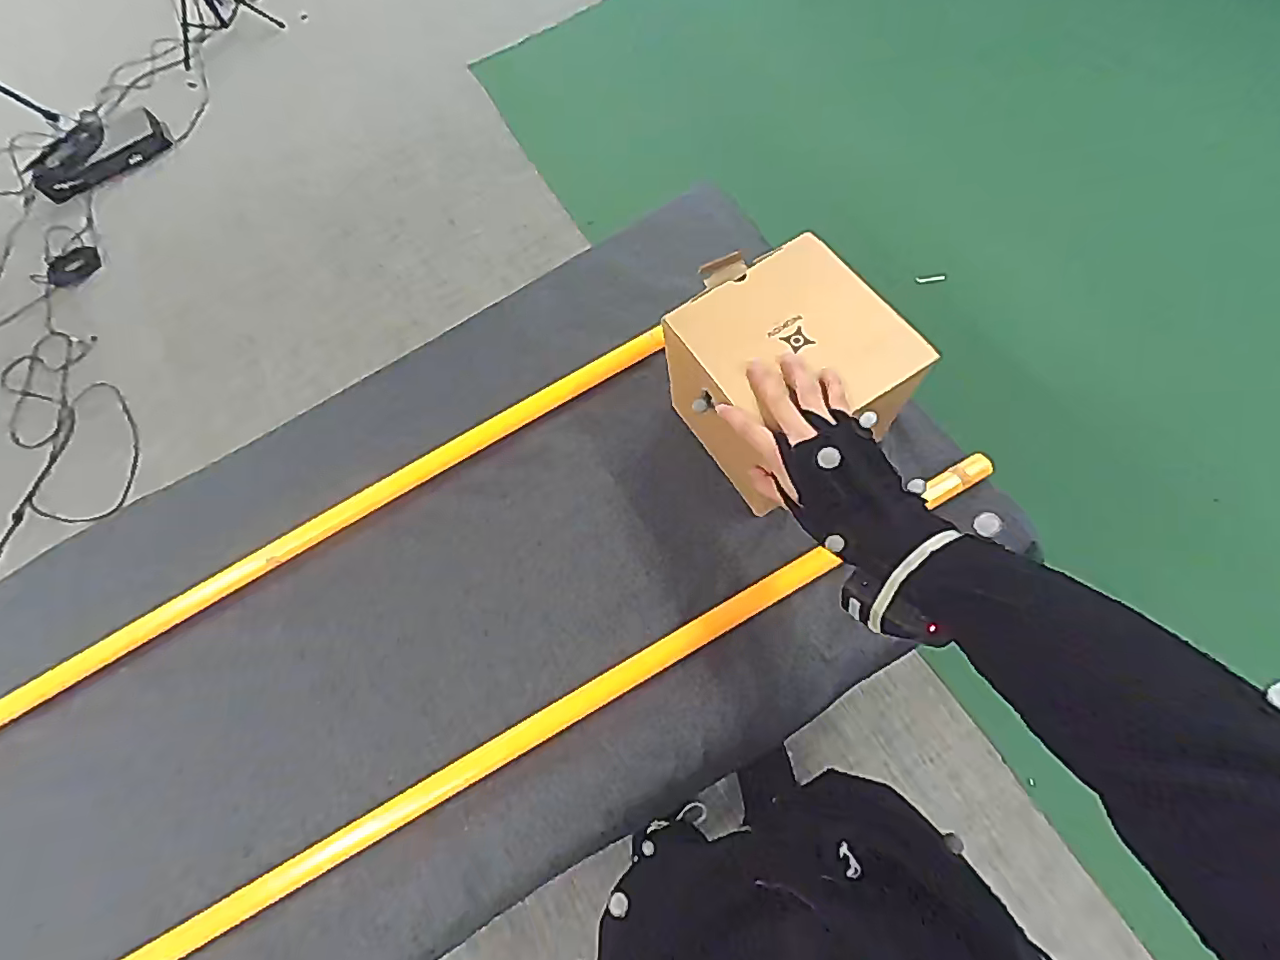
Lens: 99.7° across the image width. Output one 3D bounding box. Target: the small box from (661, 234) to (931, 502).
[{"bbox_3d":[0.142,-0.096,0.545,0.168,0.176,0.179,-32,68,-5],"label":"small box"}]
